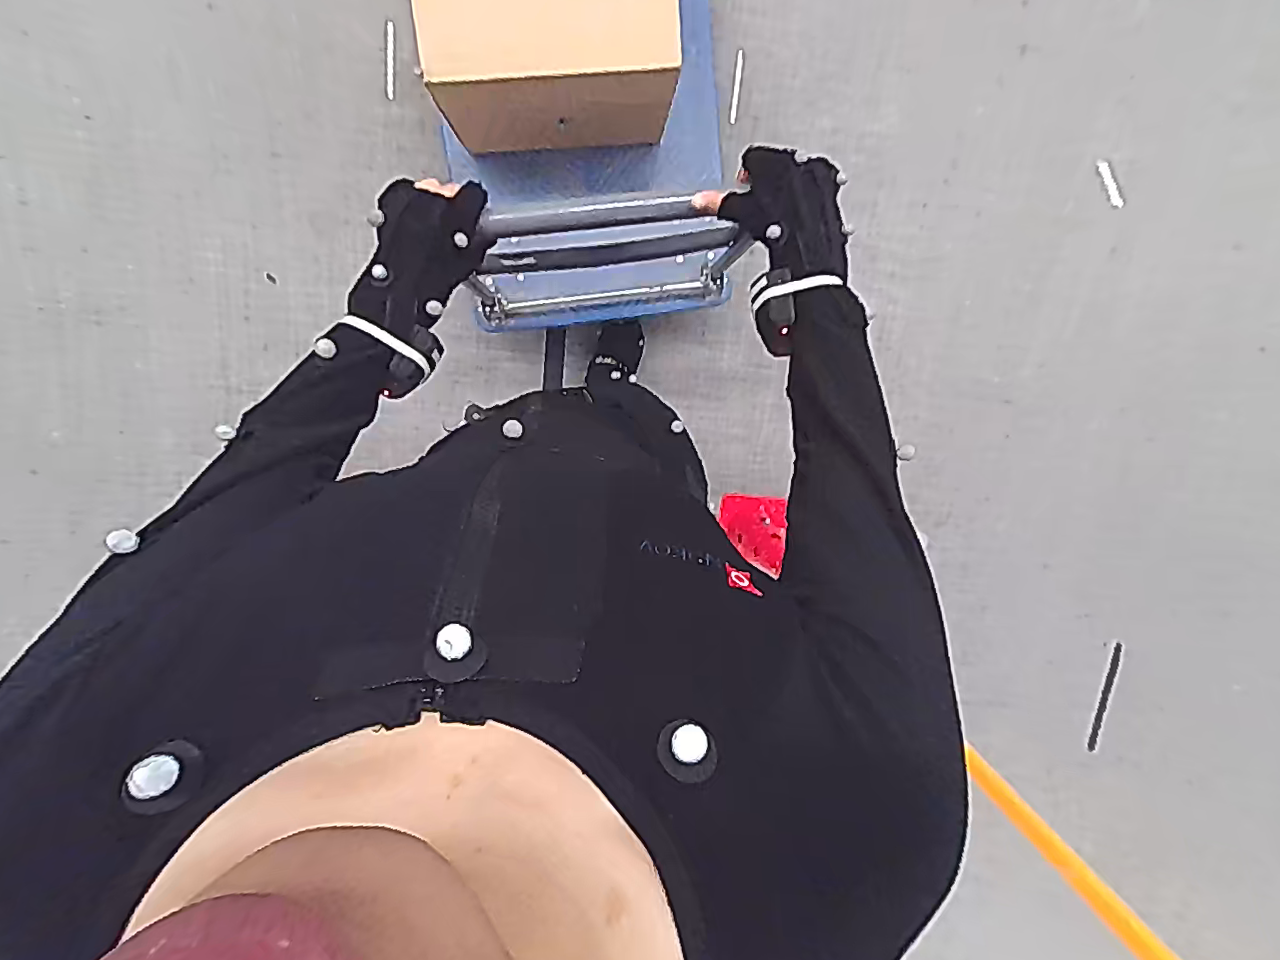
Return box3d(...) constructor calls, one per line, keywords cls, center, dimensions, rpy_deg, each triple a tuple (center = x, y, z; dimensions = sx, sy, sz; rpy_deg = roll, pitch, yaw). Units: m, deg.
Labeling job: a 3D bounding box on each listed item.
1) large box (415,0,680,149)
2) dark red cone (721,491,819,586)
box3d(cls="large box", center=(-0.155, -0.820, 0.956), dimensions=(0.408, 0.320, 0.320), rpy_deg=(-6, 103, -2))
box3d(cls="dark red cone", center=(0.344, 0.169, 1.341), dimensions=(0.201, 0.394, 0.202), rpy_deg=(4, 103, -7))
